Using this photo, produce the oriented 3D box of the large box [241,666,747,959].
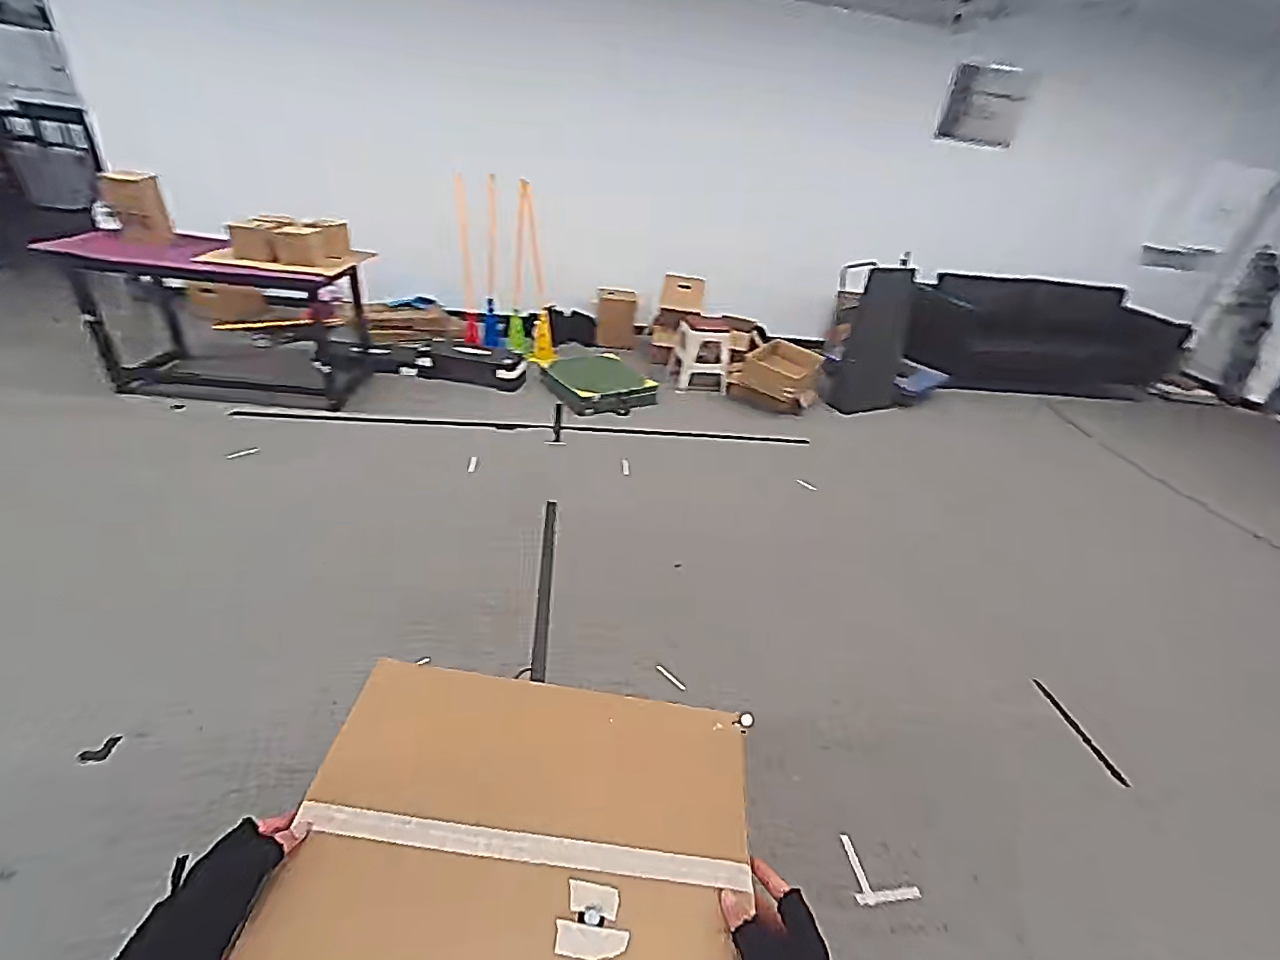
[{"bbox_3d":[-0.123,0.445,0.589,0.408,0.320,0.320,9,40,-1],"label":"large box"}]
